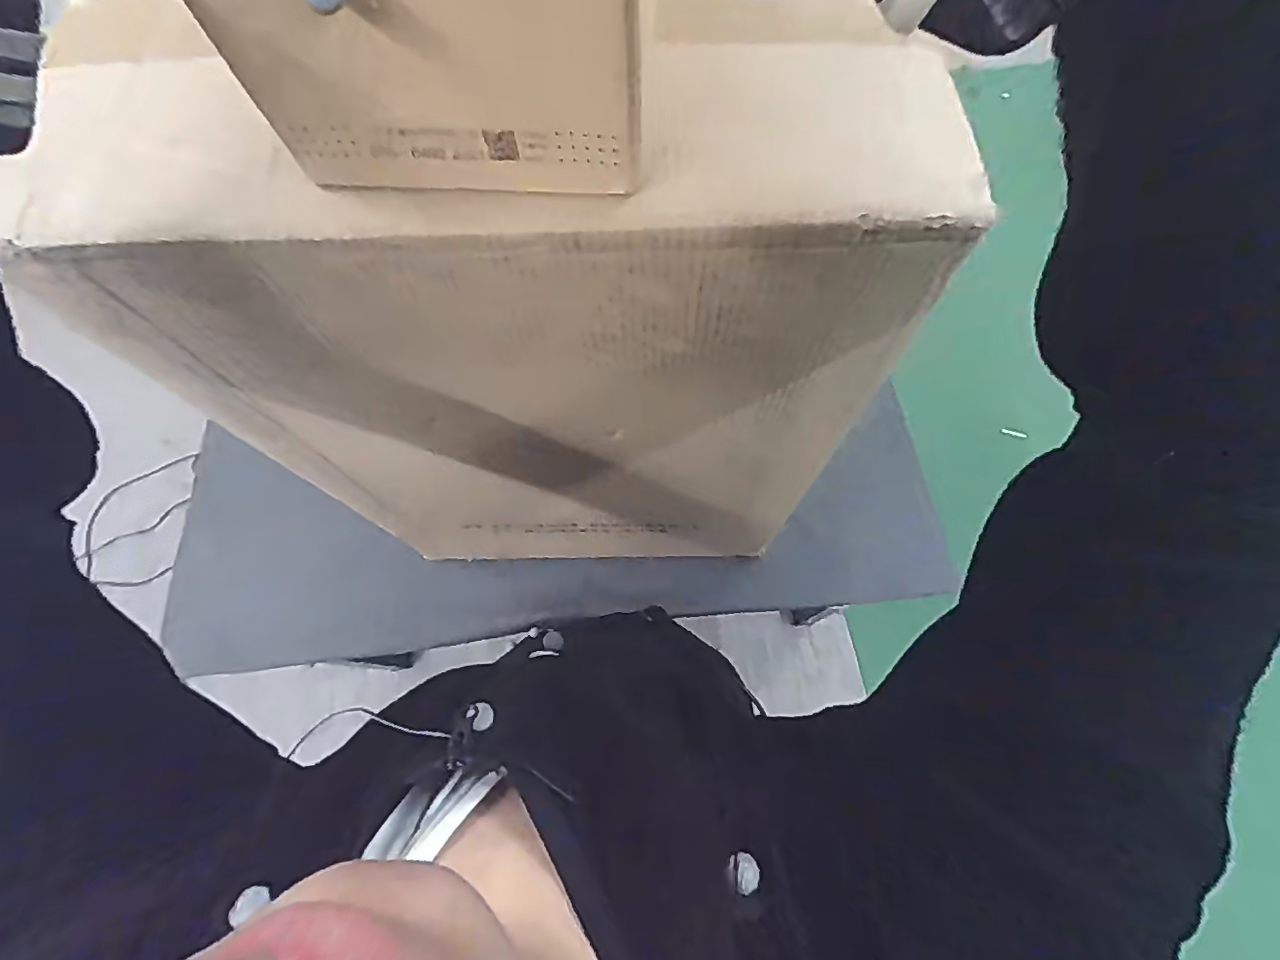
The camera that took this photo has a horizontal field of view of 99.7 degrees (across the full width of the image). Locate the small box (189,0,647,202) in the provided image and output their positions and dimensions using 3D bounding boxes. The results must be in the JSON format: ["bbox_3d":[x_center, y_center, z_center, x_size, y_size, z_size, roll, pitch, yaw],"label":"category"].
[{"bbox_3d":[-0.082,-0.247,0.229,0.168,0.176,0.179,3,69,2],"label":"small box"}]
